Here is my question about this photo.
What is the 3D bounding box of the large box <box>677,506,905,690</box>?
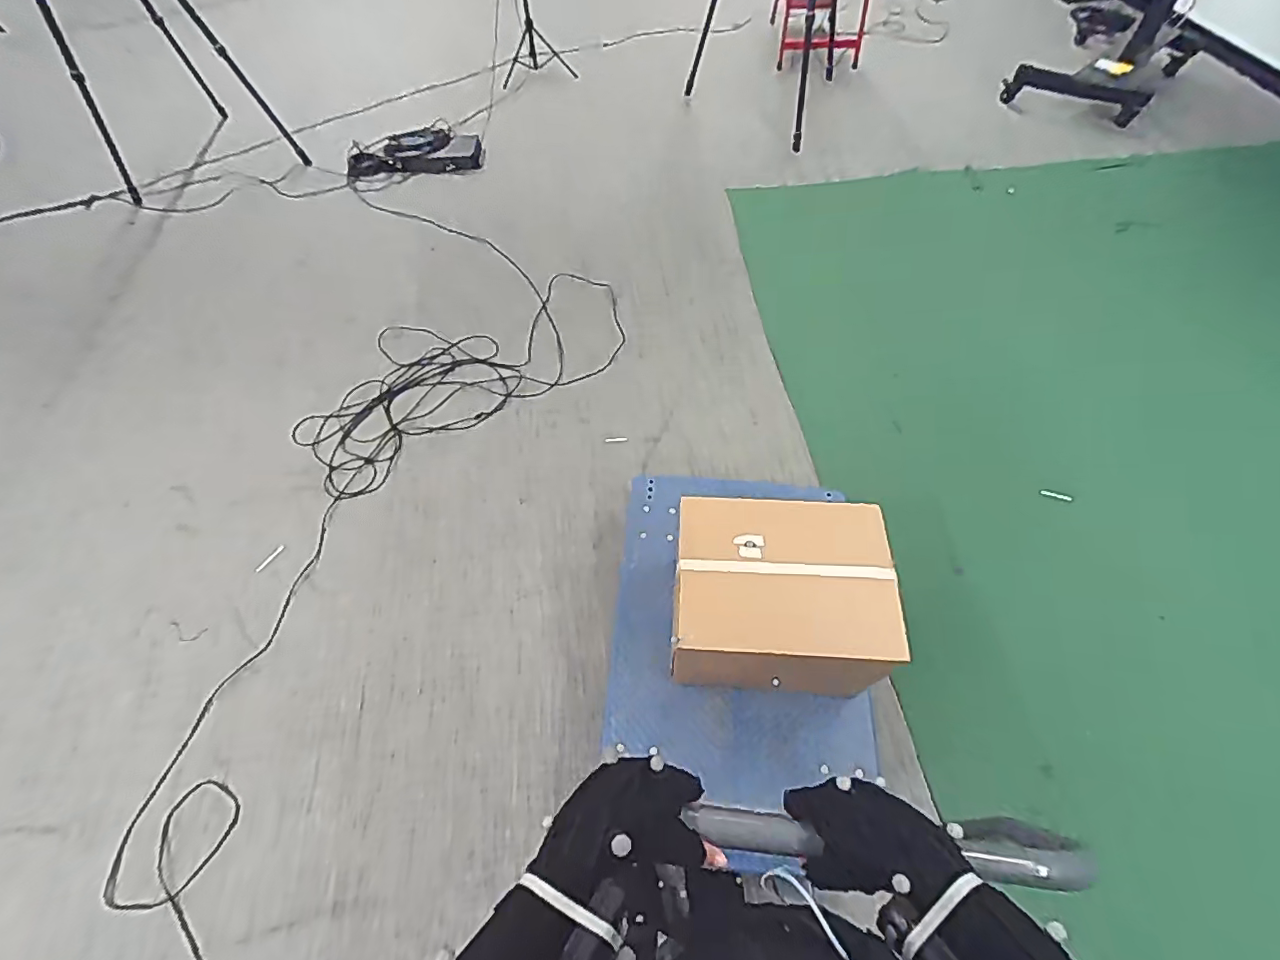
[{"bbox_3d":[0.284,0.262,1.164,0.408,0.320,0.320,1,57,4],"label":"large box"}]
